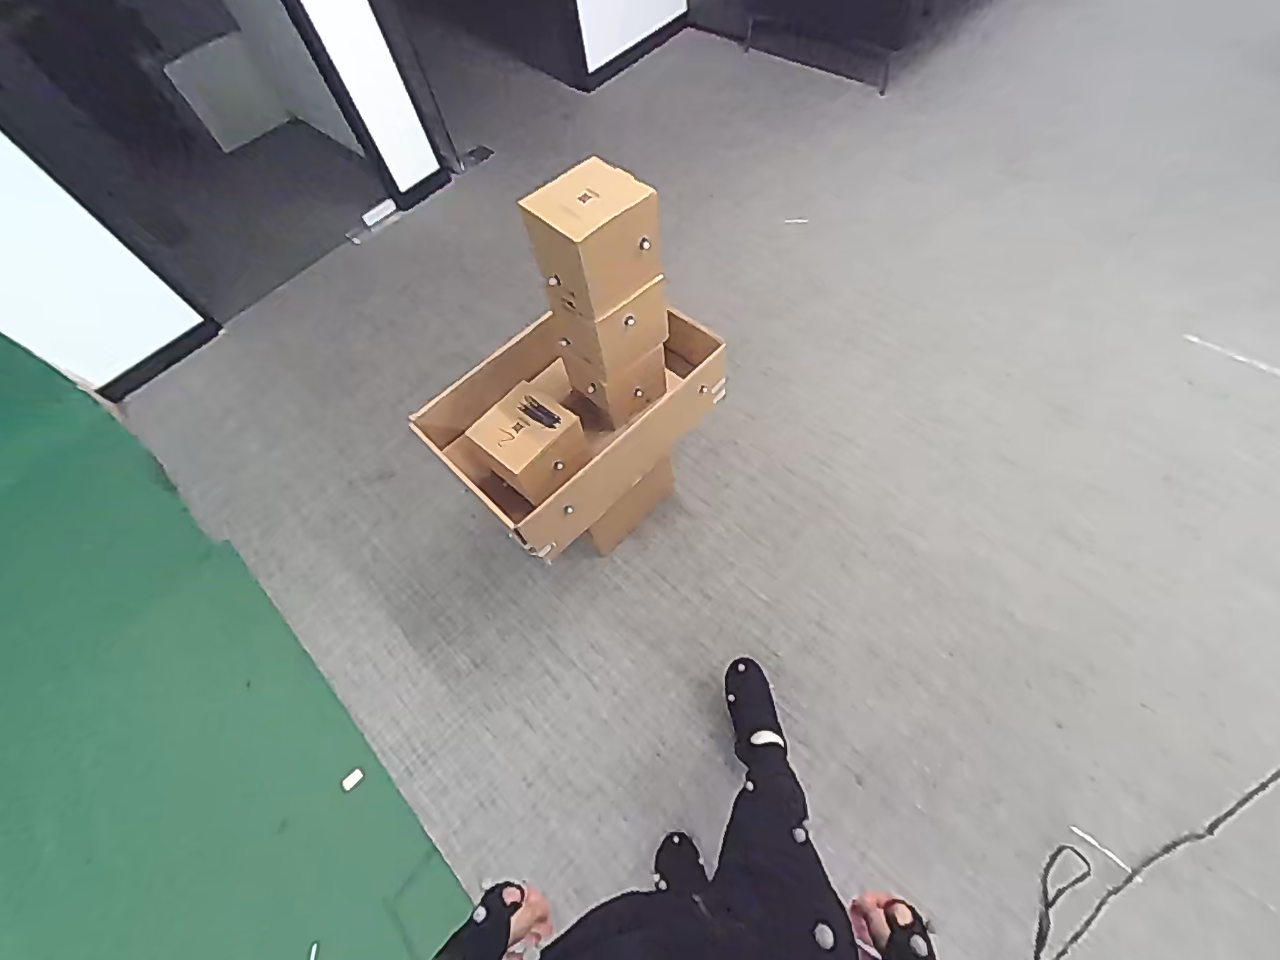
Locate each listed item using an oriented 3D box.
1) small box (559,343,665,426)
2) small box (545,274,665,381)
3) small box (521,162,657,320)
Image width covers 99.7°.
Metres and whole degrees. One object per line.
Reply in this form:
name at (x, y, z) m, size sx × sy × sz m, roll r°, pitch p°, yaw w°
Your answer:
small box at (-0.057, -0.249, 1.255) m, size 0.168 × 0.176 × 0.179 m, roll -38°, pitch 62°, yaw -15°
small box at (-0.063, -0.339, 1.117) m, size 0.179 × 0.176 × 0.168 m, roll -39°, pitch 63°, yaw -16°
small box at (-0.083, -0.430, 0.982) m, size 0.179 × 0.176 × 0.168 m, roll -40°, pitch 63°, yaw -15°
